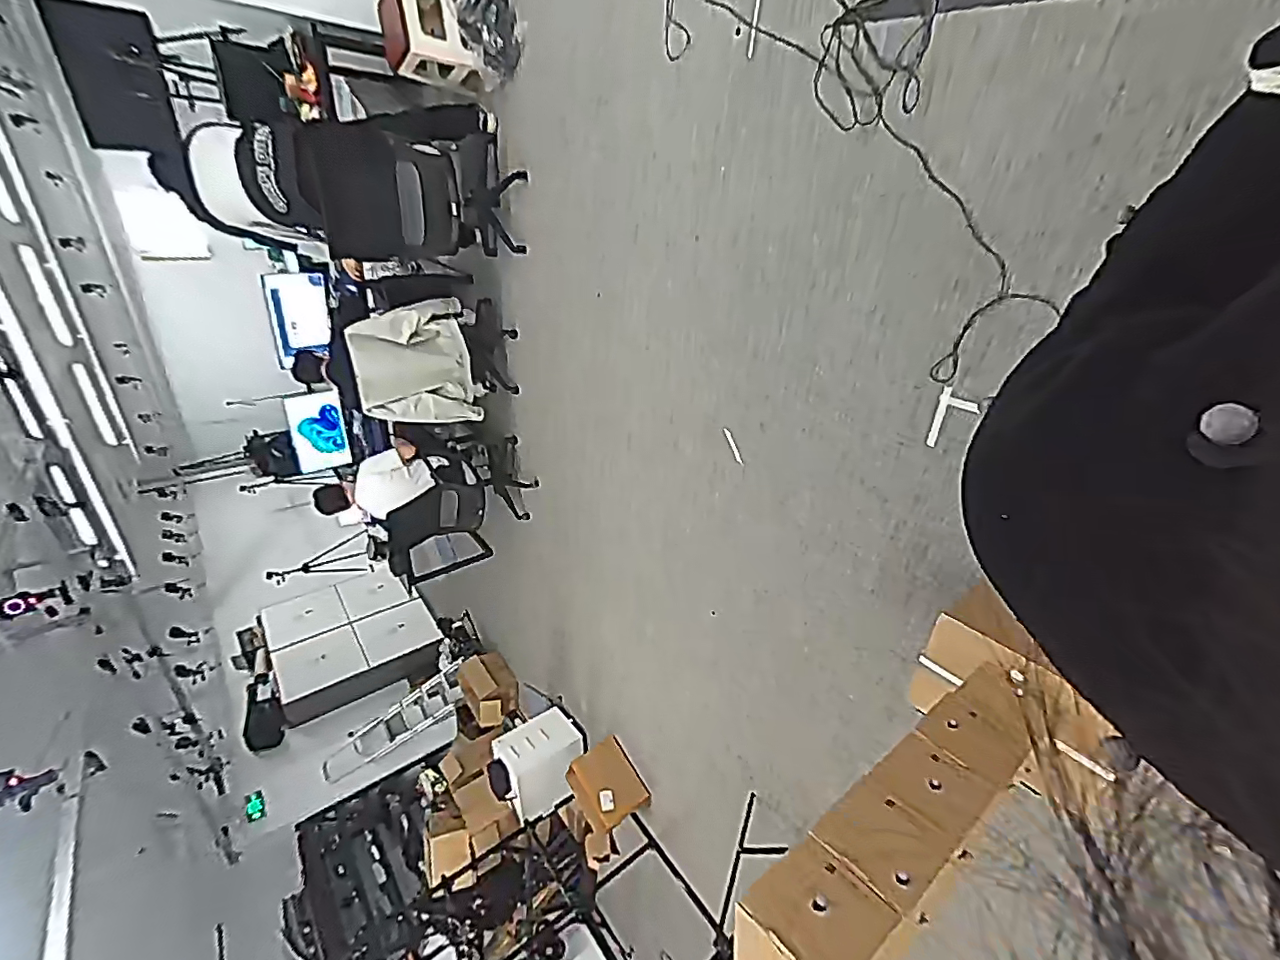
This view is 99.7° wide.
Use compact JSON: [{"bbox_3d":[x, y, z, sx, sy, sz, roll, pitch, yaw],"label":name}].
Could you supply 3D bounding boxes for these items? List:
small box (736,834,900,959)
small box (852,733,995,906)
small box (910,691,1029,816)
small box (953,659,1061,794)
[{"bbox_3d":[0.266,0.692,0.815,0.168,0.176,0.179,23,121,49],"label":"small box"},{"bbox_3d":[0.524,0.614,1.002,0.168,0.176,0.179,27,125,47],"label":"small box"},{"bbox_3d":[0.651,0.568,1.096,0.168,0.176,0.179,32,129,45],"label":"small box"},{"bbox_3d":[0.781,0.534,1.187,0.168,0.176,0.179,32,128,43],"label":"small box"}]
